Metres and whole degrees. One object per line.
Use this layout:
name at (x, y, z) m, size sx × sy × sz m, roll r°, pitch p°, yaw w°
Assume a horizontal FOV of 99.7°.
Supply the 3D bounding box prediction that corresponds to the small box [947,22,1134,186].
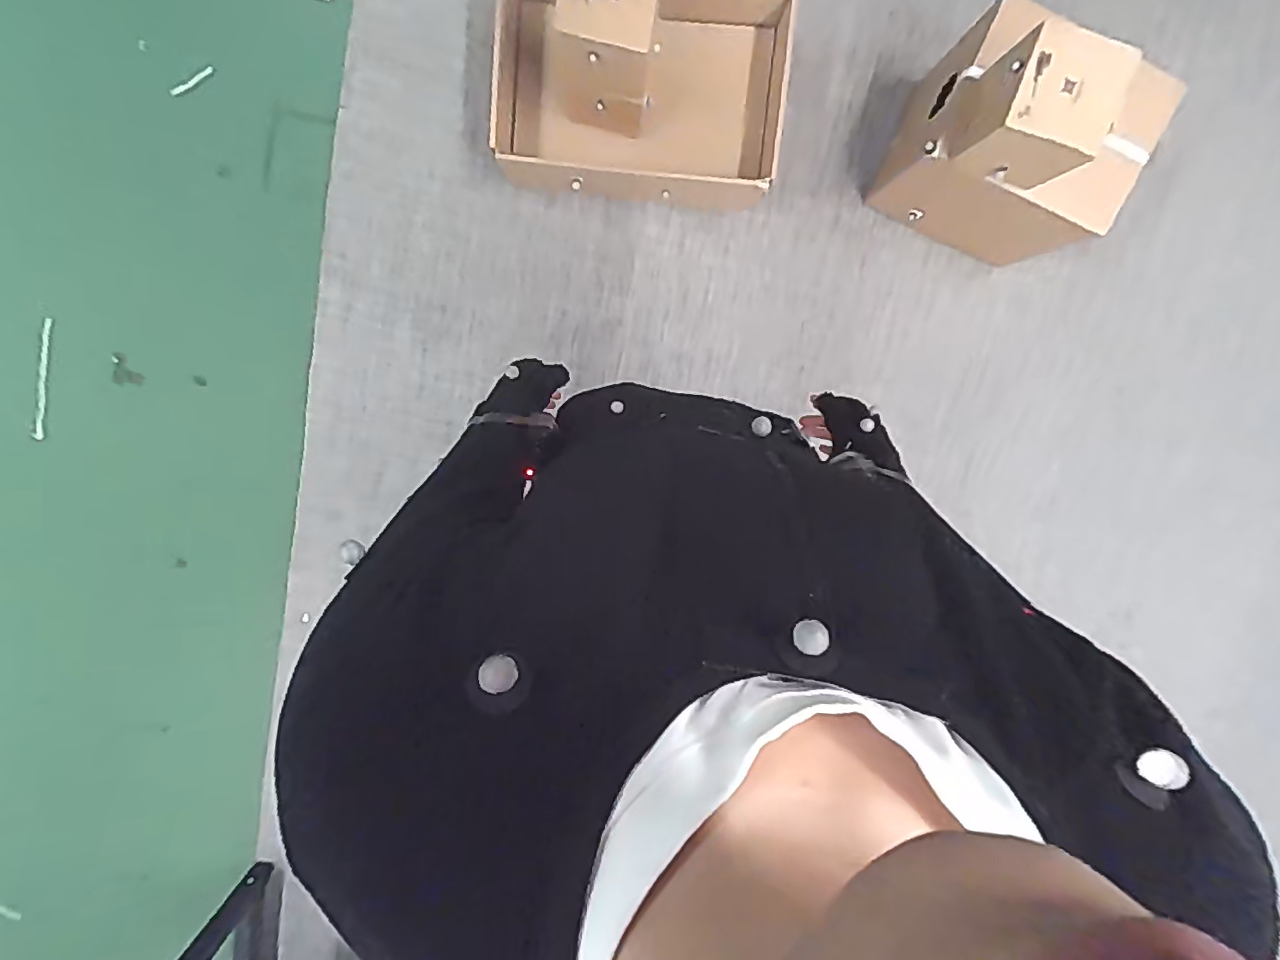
small box at (0.705, -0.659, 0.975) m, size 0.179 × 0.176 × 0.168 m, roll 17°, pitch 101°, yaw -5°

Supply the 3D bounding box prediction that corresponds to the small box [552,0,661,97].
small box at (-0.059, -0.870, 1.025) m, size 0.179 × 0.176 × 0.168 m, roll 11°, pitch 100°, yaw -5°

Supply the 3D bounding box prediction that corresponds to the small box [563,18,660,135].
small box at (-0.064, -0.896, 1.188) m, size 0.179 × 0.176 × 0.168 m, roll 11°, pitch 100°, yaw -6°
